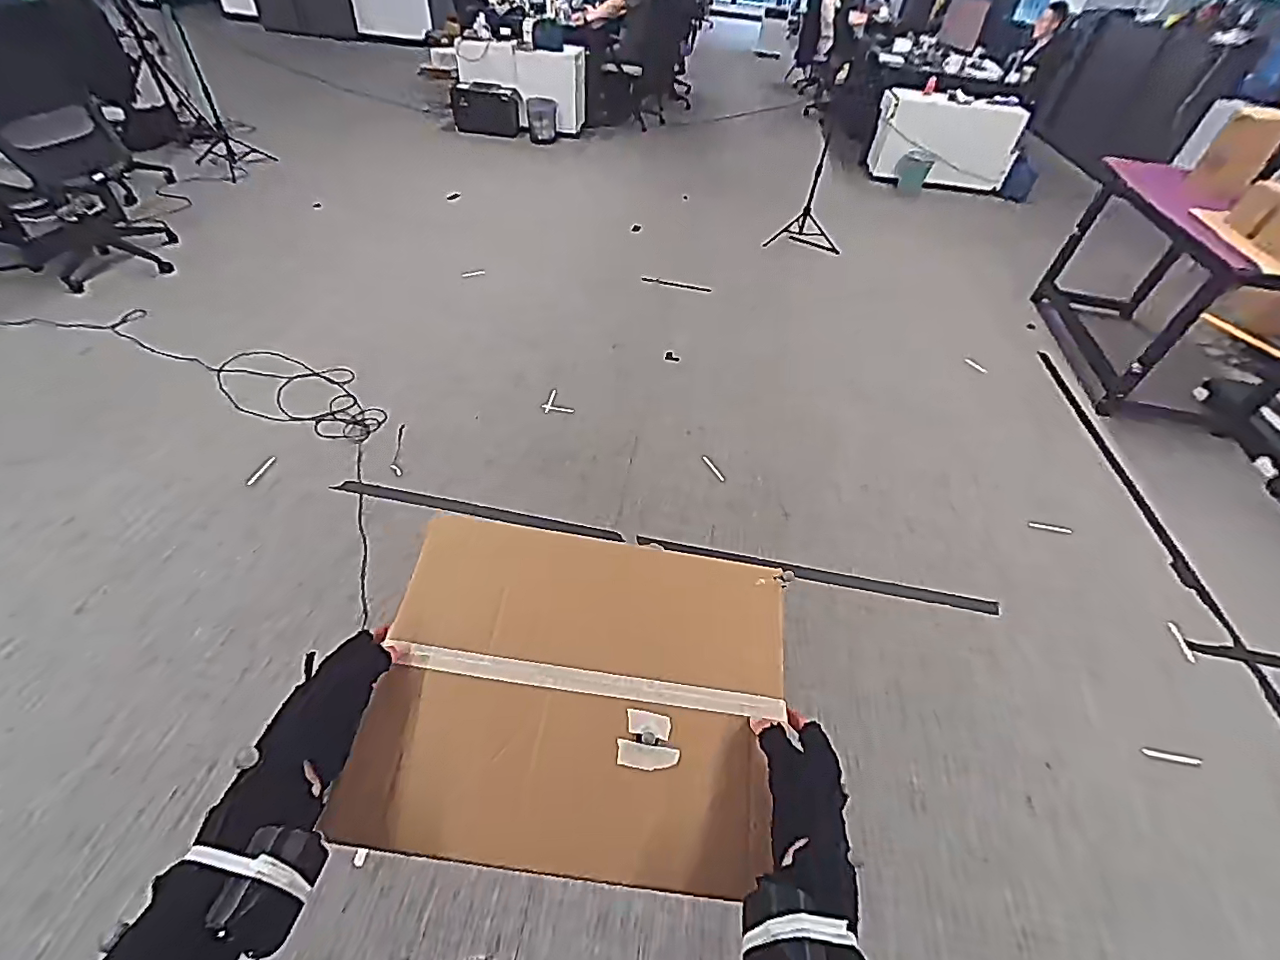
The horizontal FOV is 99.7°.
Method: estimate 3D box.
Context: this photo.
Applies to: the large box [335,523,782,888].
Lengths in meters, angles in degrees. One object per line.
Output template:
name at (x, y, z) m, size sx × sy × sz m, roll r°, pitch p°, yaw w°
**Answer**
large box at (-0.073, 0.285, 0.676) m, size 0.408 × 0.320 × 0.320 m, roll 10°, pitch 58°, yaw -3°
